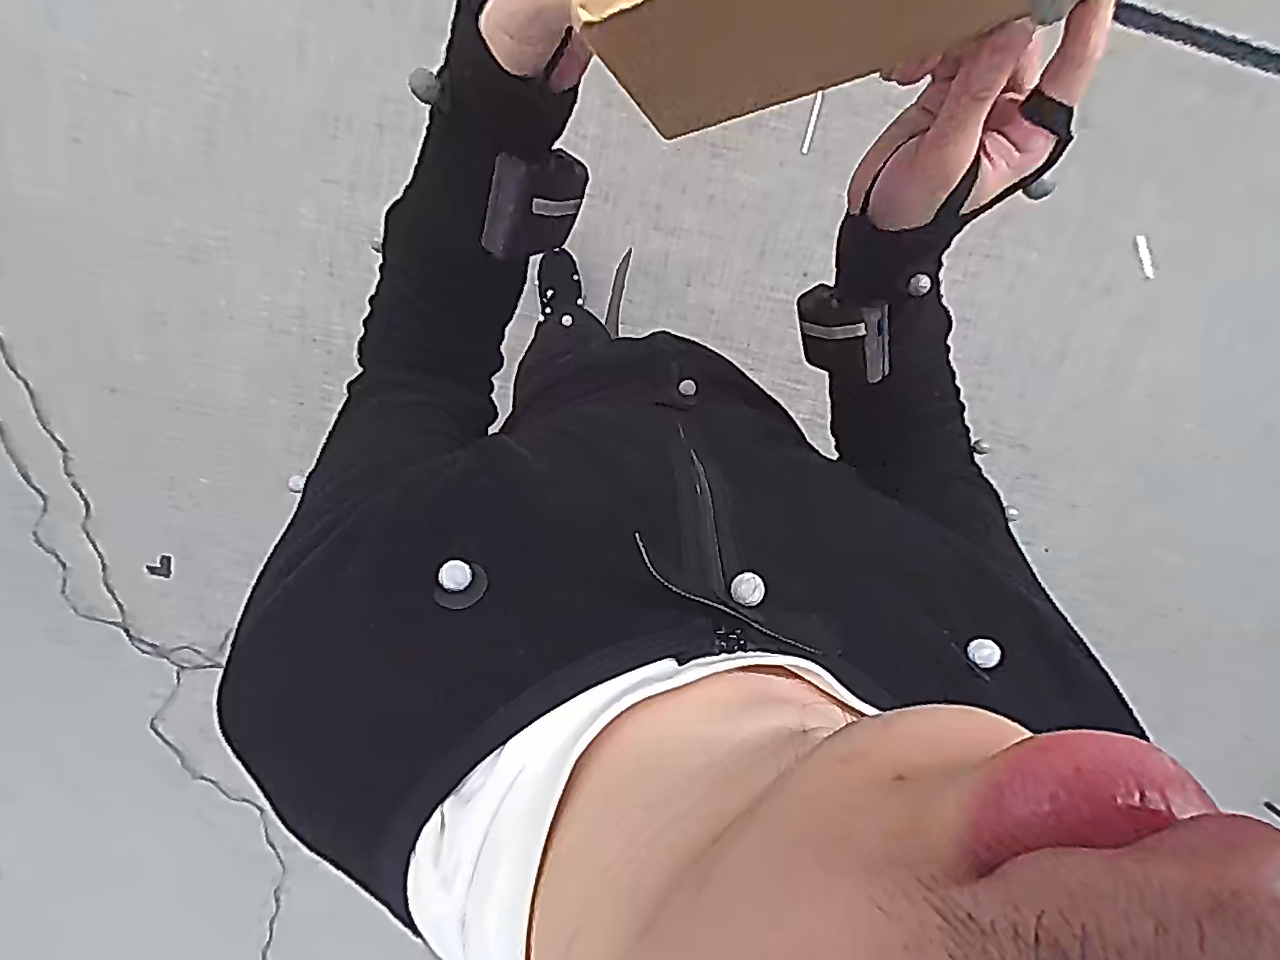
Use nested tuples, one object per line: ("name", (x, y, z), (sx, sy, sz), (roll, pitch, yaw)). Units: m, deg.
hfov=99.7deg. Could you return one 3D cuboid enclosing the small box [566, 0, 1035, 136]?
("small box", (0.059, -0.230, 0.159), (0.179, 0.176, 0.168), (-10, 111, 16))
